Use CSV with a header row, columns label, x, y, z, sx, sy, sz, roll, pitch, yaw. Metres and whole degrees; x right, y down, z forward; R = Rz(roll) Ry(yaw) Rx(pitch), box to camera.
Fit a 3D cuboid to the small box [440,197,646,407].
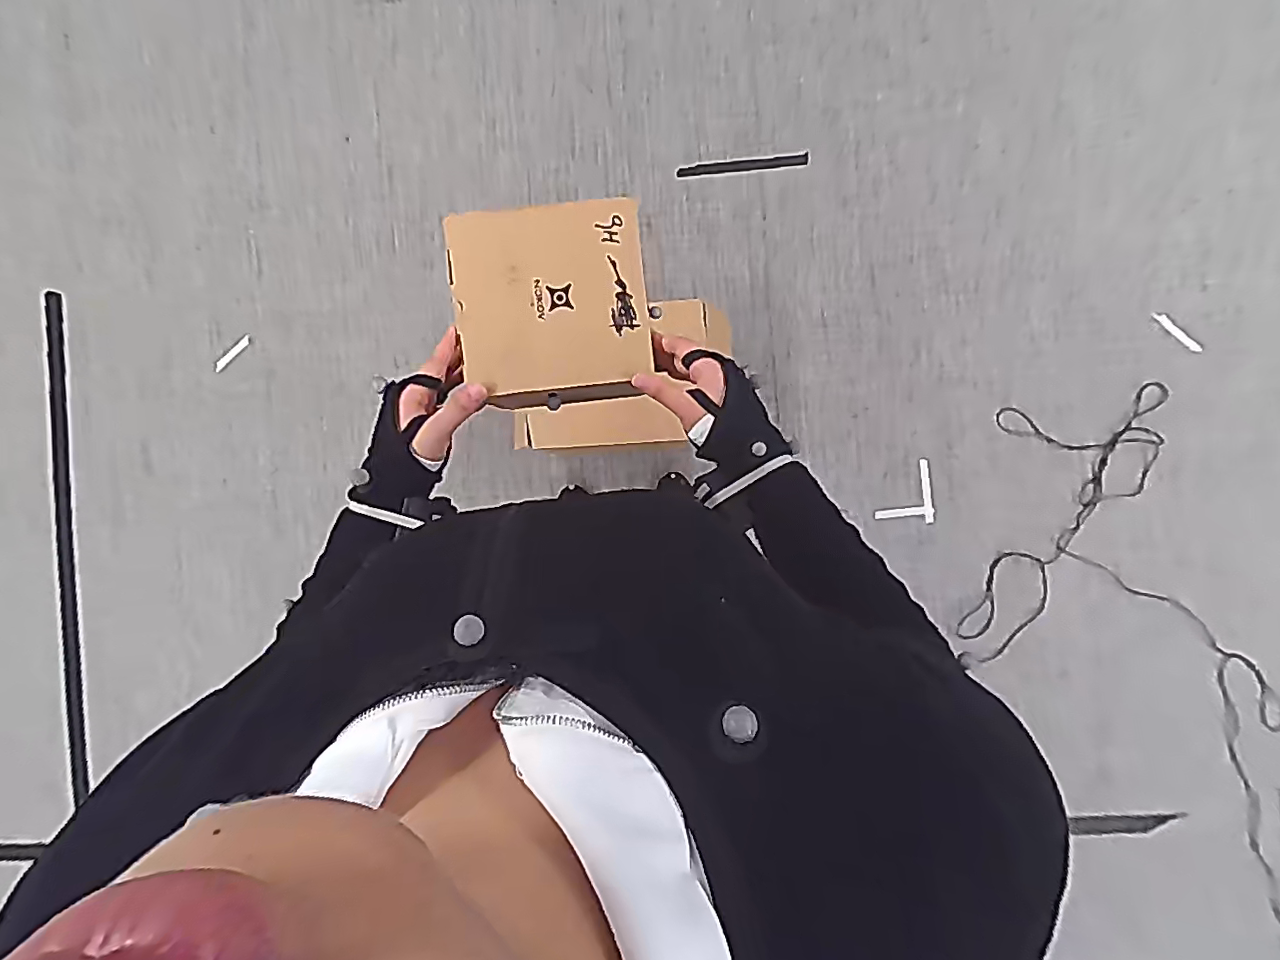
label,x,y,z,sx,sy,sz,roll,pitch,yaw
small box,-0.090,-0.172,0.572,0.179,0.176,0.168,-6,94,-2
